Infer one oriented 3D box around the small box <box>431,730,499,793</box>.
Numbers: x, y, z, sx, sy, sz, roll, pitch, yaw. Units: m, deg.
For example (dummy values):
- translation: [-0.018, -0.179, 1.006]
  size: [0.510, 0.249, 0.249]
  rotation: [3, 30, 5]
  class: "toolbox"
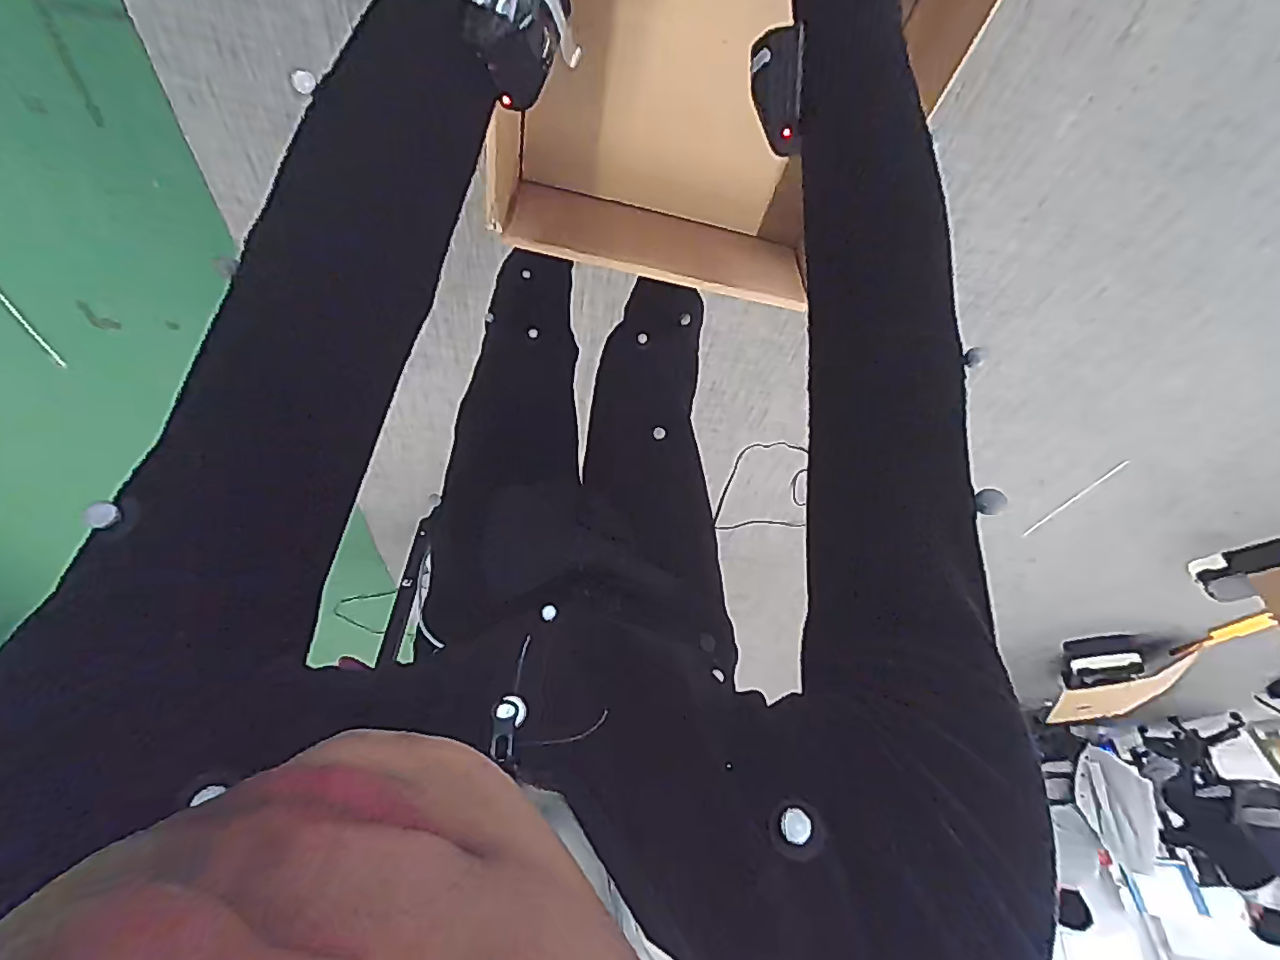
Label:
- translation: [-0.588, 0.960, 1.840]
  size: [0.168, 0.176, 0.179]
  rotation: [1, 144, 1]
  class: "small box"
